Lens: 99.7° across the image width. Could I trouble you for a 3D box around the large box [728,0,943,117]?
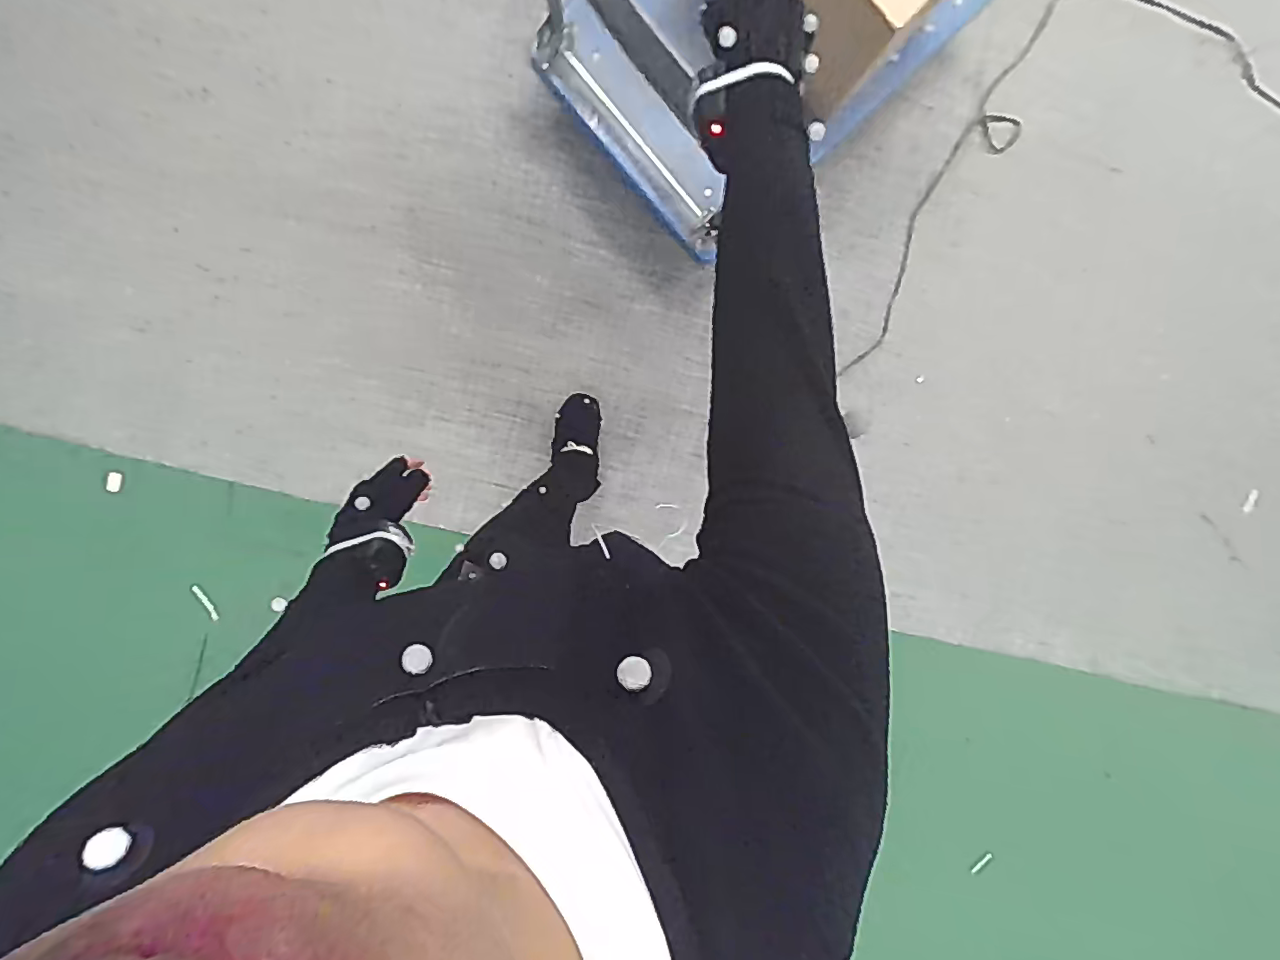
[{"bbox_3d":[0.381,-0.994,0.983,0.320,0.320,0.408,-44,98,3],"label":"large box"}]
